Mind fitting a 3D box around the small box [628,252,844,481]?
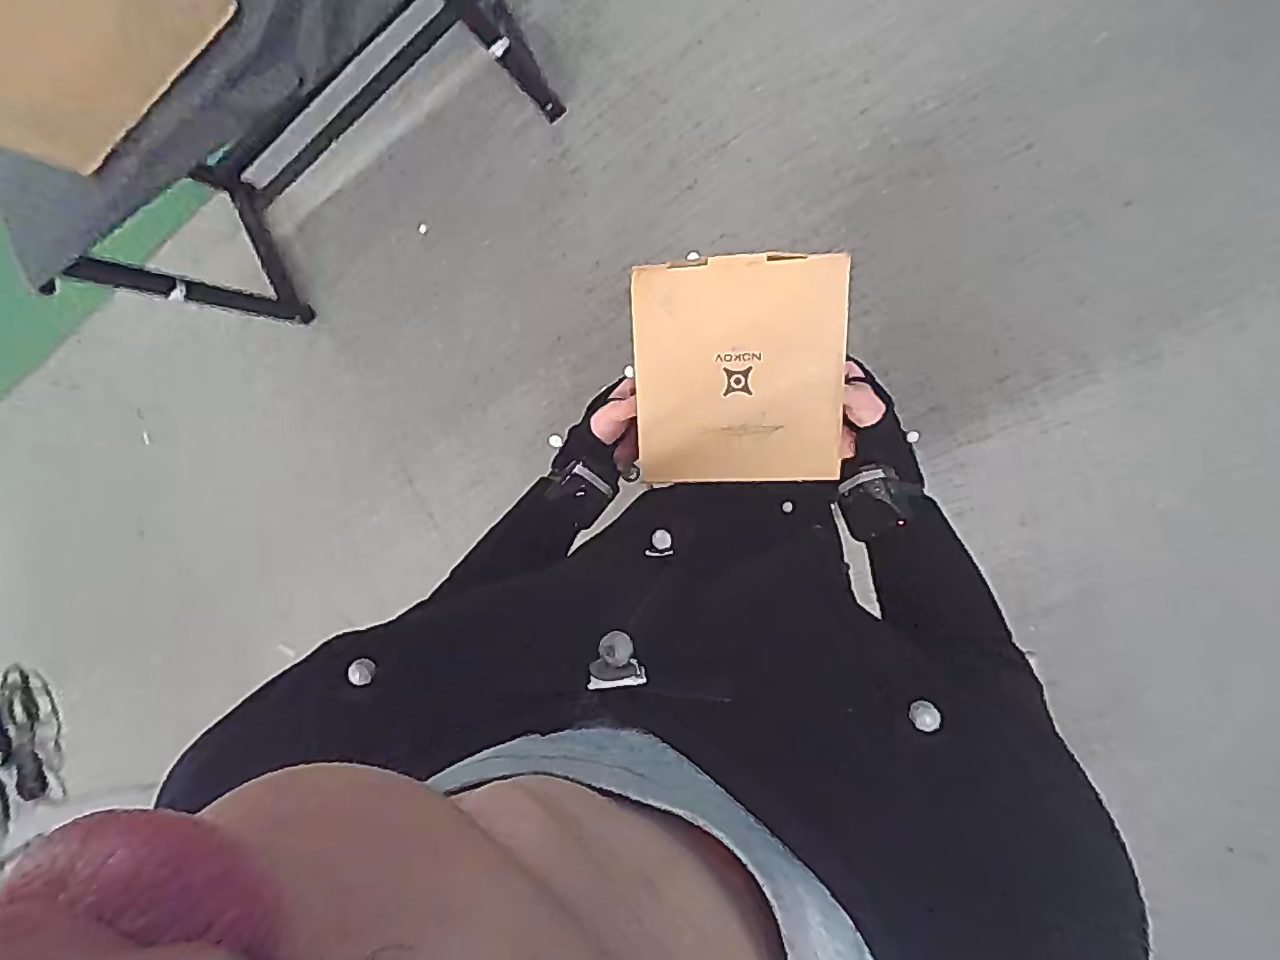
[{"bbox_3d":[0.084,-0.105,0.505,0.168,0.176,0.179,-1,106,9],"label":"small box"}]
